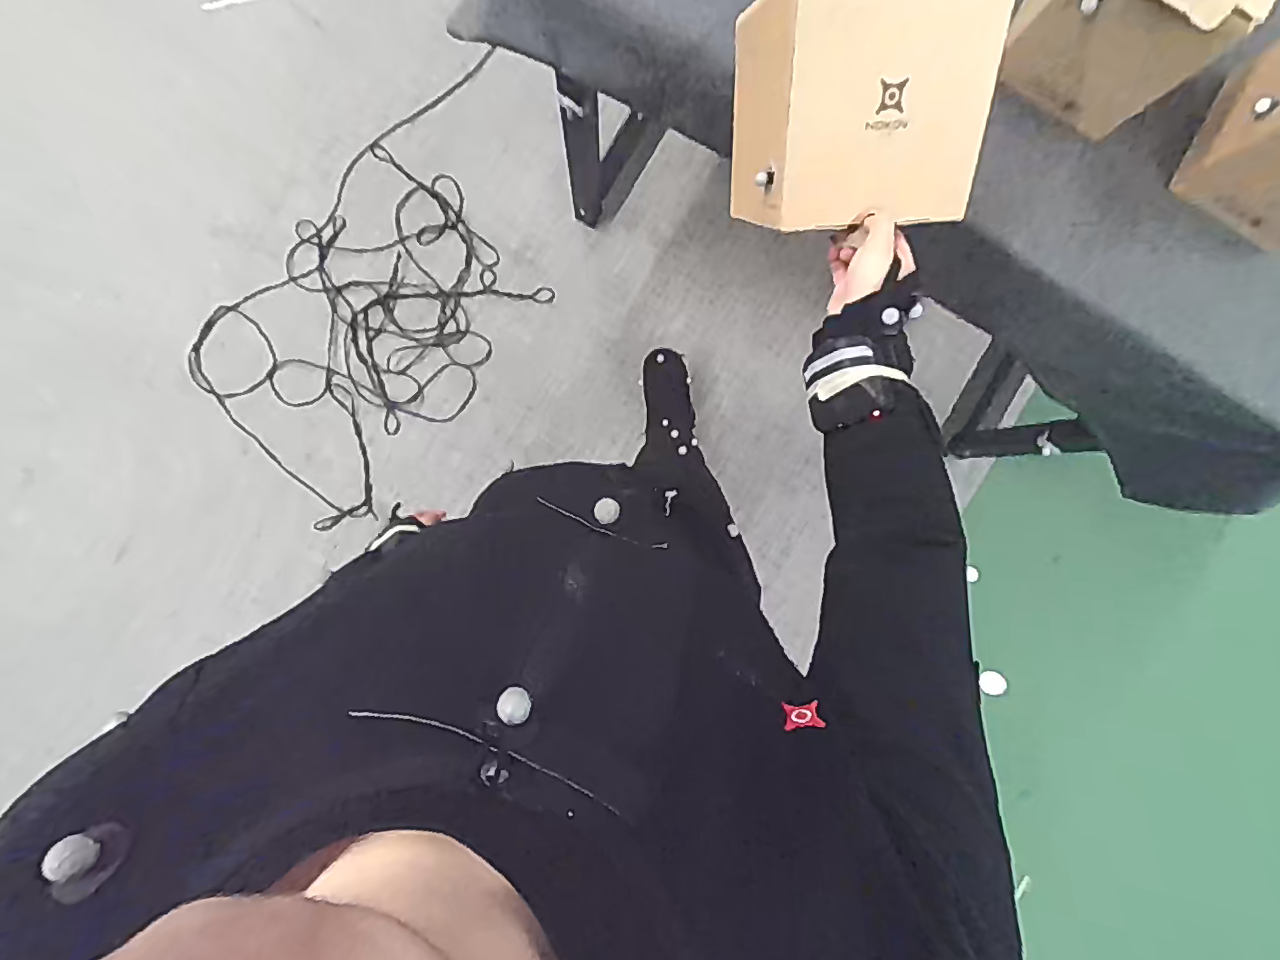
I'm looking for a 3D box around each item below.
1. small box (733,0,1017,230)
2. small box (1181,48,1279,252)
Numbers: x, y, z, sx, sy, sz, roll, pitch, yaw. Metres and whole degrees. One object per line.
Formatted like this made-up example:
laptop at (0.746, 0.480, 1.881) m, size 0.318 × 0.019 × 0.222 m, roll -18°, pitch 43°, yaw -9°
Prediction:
small box at (0.184, -0.331, 0.481) m, size 0.168 × 0.176 × 0.179 m, roll -6°, pitch 122°, yaw -3°
small box at (0.774, -0.391, 0.599) m, size 0.168 × 0.176 × 0.179 m, roll 30°, pitch 87°, yaw -4°
